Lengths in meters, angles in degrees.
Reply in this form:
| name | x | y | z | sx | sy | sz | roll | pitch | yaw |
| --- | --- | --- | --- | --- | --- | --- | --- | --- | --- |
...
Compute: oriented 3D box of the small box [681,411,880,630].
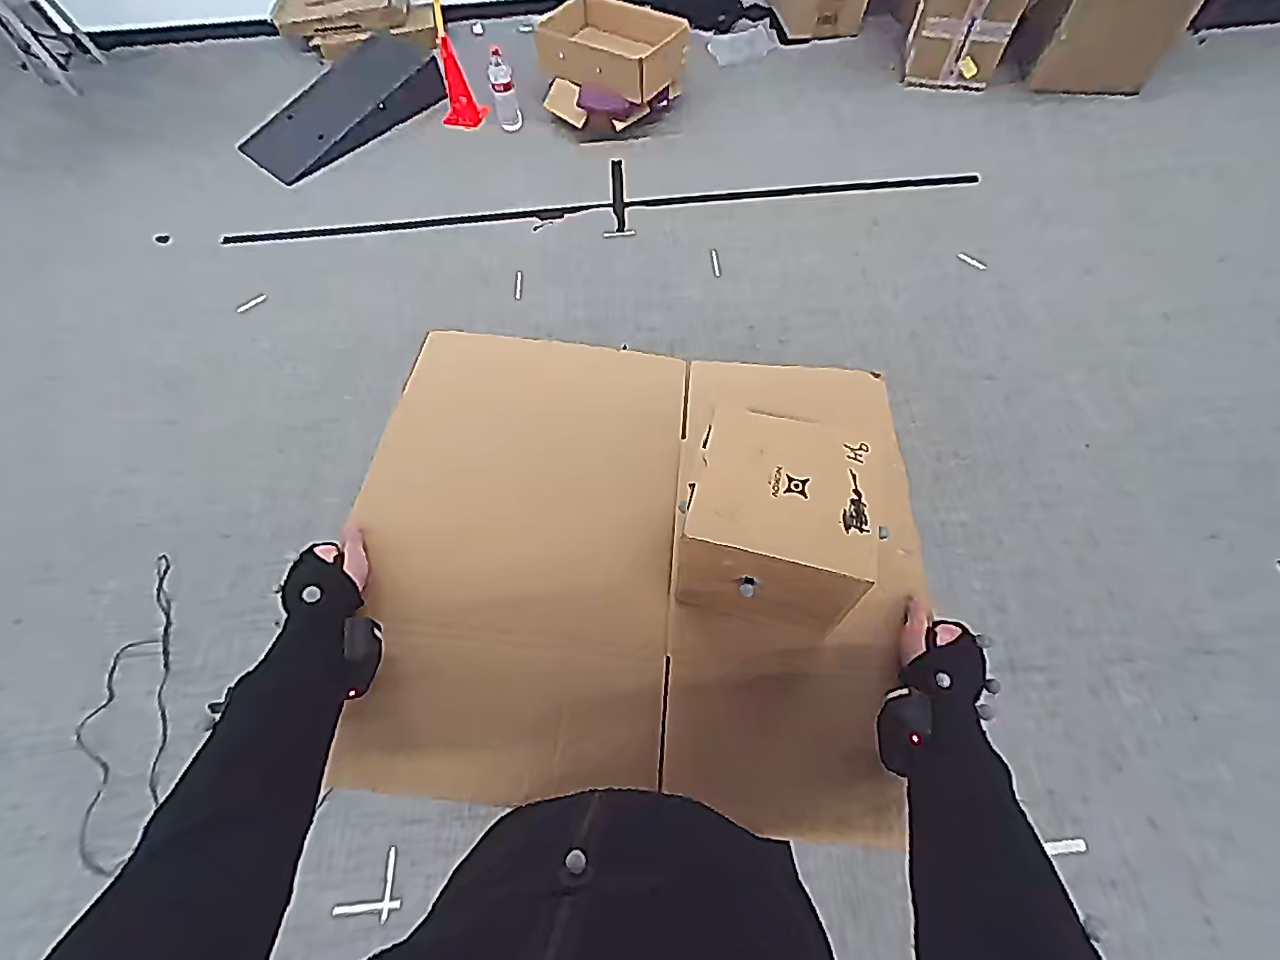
| name | x | y | z | sx | sy | sz | roll | pitch | yaw |
| --- | --- | --- | --- | --- | --- | --- | --- | --- | --- |
| small box | 0.146 | 0.050 | 0.599 | 0.179 | 0.176 | 0.168 | 12 | 59 | 10 |
